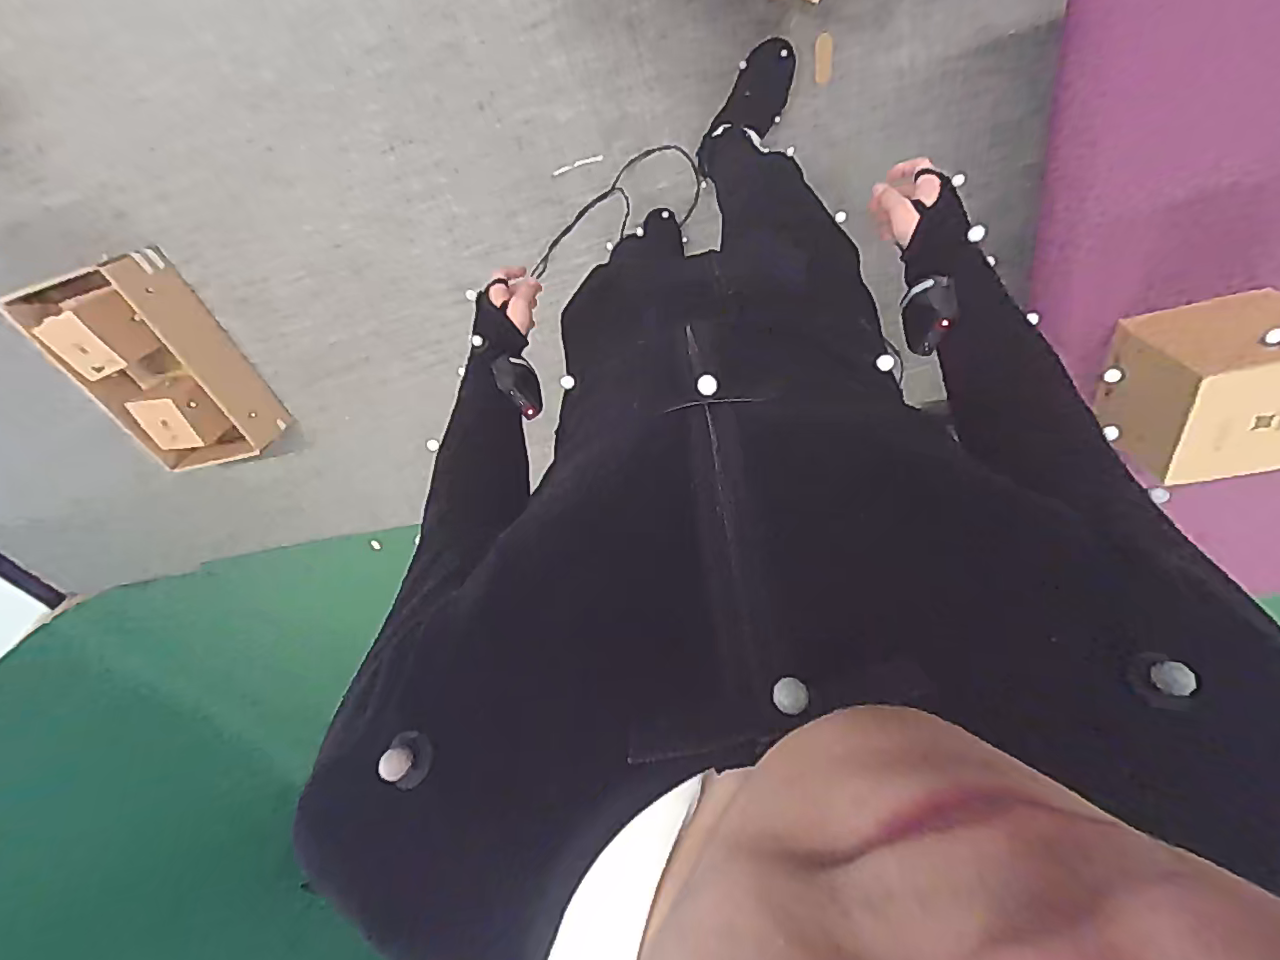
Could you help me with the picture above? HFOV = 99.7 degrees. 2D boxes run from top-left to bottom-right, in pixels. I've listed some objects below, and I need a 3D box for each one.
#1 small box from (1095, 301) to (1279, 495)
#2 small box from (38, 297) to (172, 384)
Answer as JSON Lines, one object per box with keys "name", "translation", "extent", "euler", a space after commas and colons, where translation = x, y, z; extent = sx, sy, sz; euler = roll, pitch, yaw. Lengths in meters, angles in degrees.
{"name": "small box", "translation": [0.740, -0.108, 0.686], "extent": [0.179, 0.176, 0.168], "euler": [-10, 127, 13]}
{"name": "small box", "translation": [-1.530, -0.409, 1.558], "extent": [0.168, 0.176, 0.179], "euler": [-14, 127, 16]}
